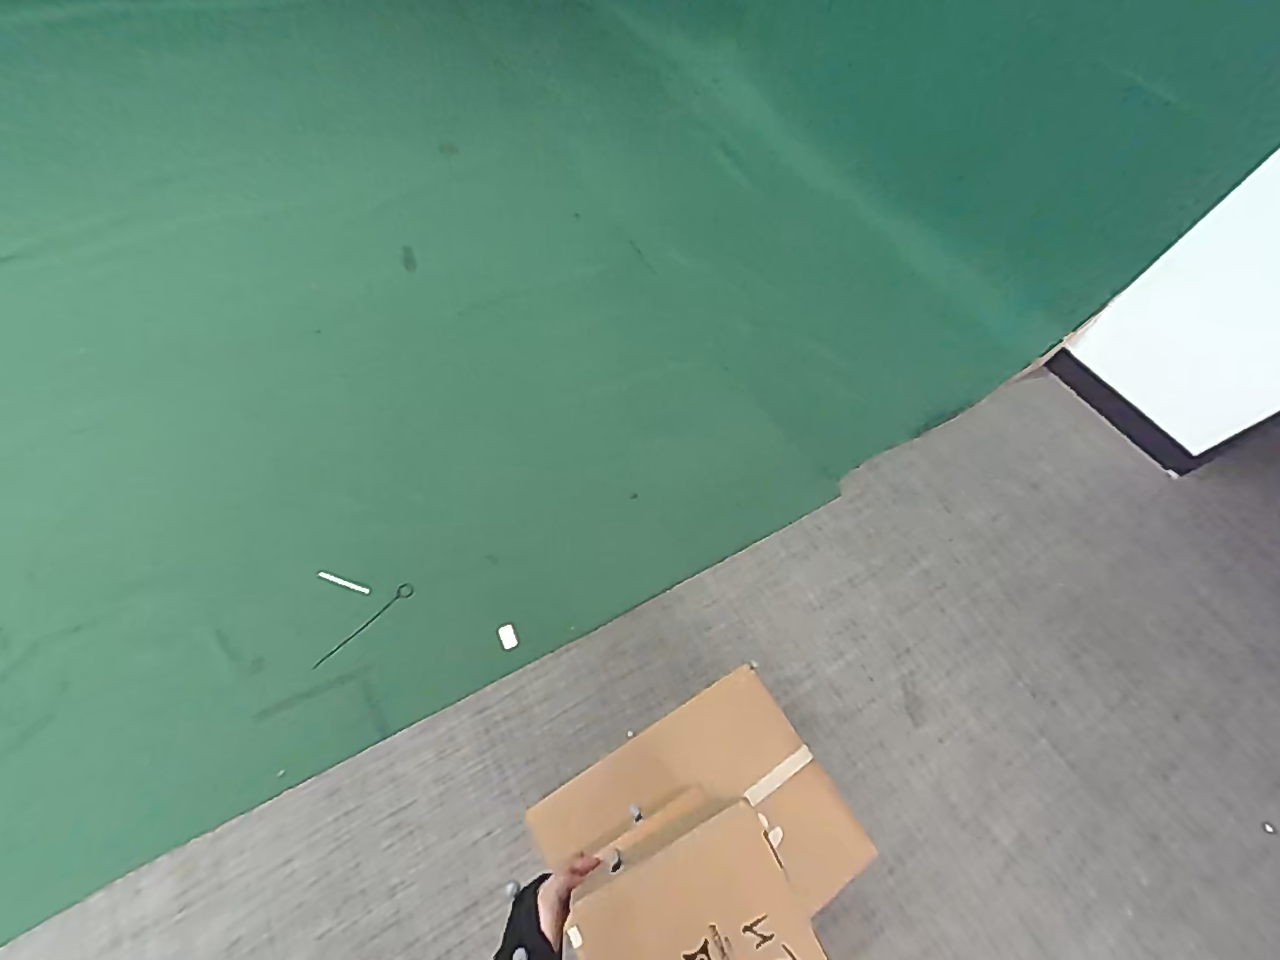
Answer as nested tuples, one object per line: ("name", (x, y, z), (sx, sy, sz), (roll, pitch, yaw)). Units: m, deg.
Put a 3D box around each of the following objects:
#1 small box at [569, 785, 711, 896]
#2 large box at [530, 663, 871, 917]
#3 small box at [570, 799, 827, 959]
("small box", (0.029, 0.496, 0.645), (0.179, 0.176, 0.168), (-23, 64, -19))
("large box", (0.073, 0.574, 0.888), (0.408, 0.320, 0.320), (-25, 66, -21))
("small box", (0.048, 0.423, 0.497), (0.179, 0.176, 0.168), (-21, 64, -18))
